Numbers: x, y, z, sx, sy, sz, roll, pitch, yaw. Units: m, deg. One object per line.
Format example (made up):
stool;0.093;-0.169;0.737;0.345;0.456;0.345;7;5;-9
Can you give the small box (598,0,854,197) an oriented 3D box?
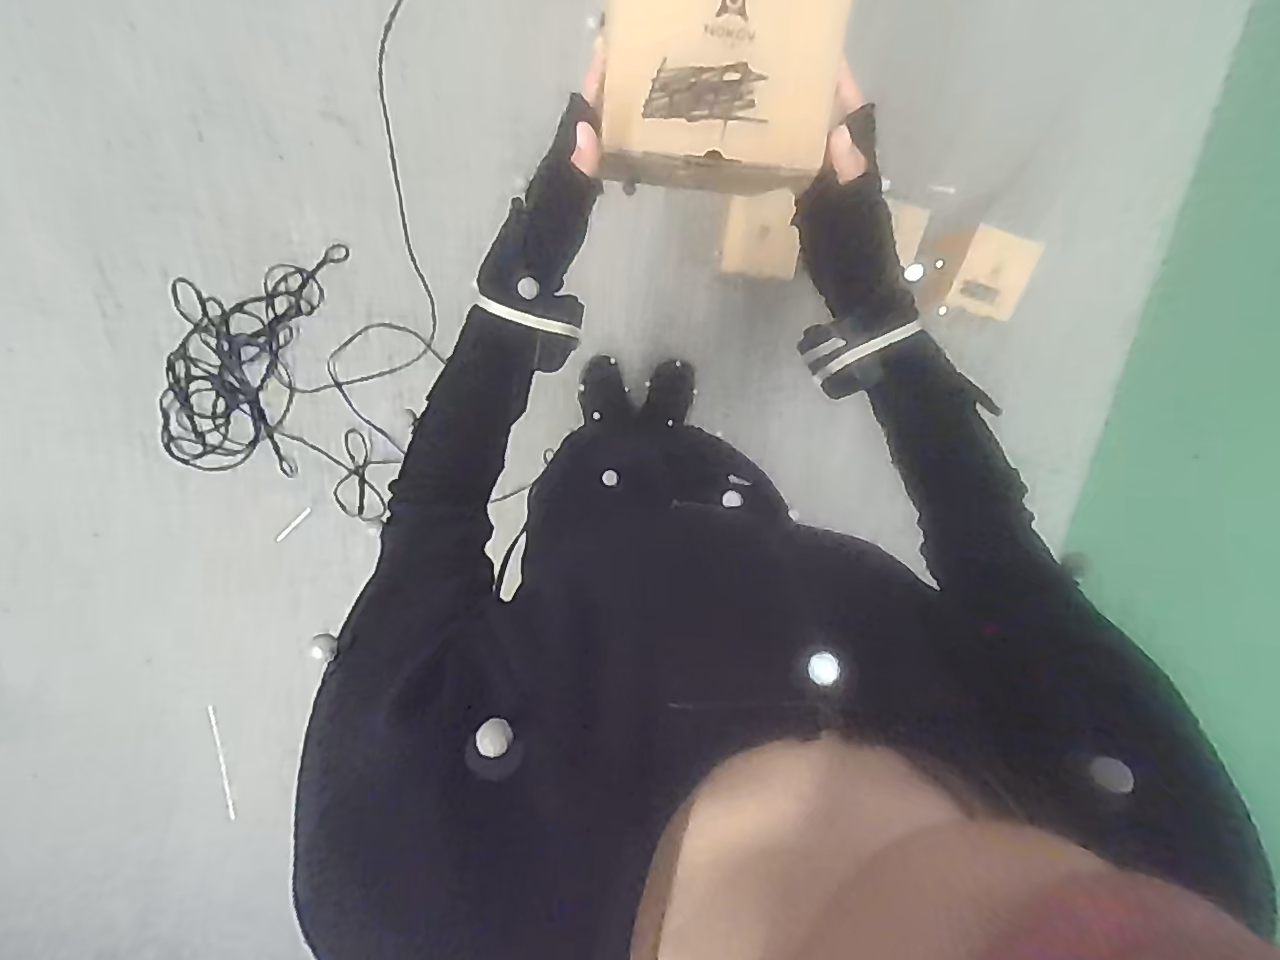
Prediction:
small box;0.054;-0.338;0.433;0.168;0.176;0.179;3;110;-7

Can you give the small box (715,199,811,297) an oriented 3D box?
small box;0.274;-0.525;1.243;0.168;0.176;0.179;5;106;-3
